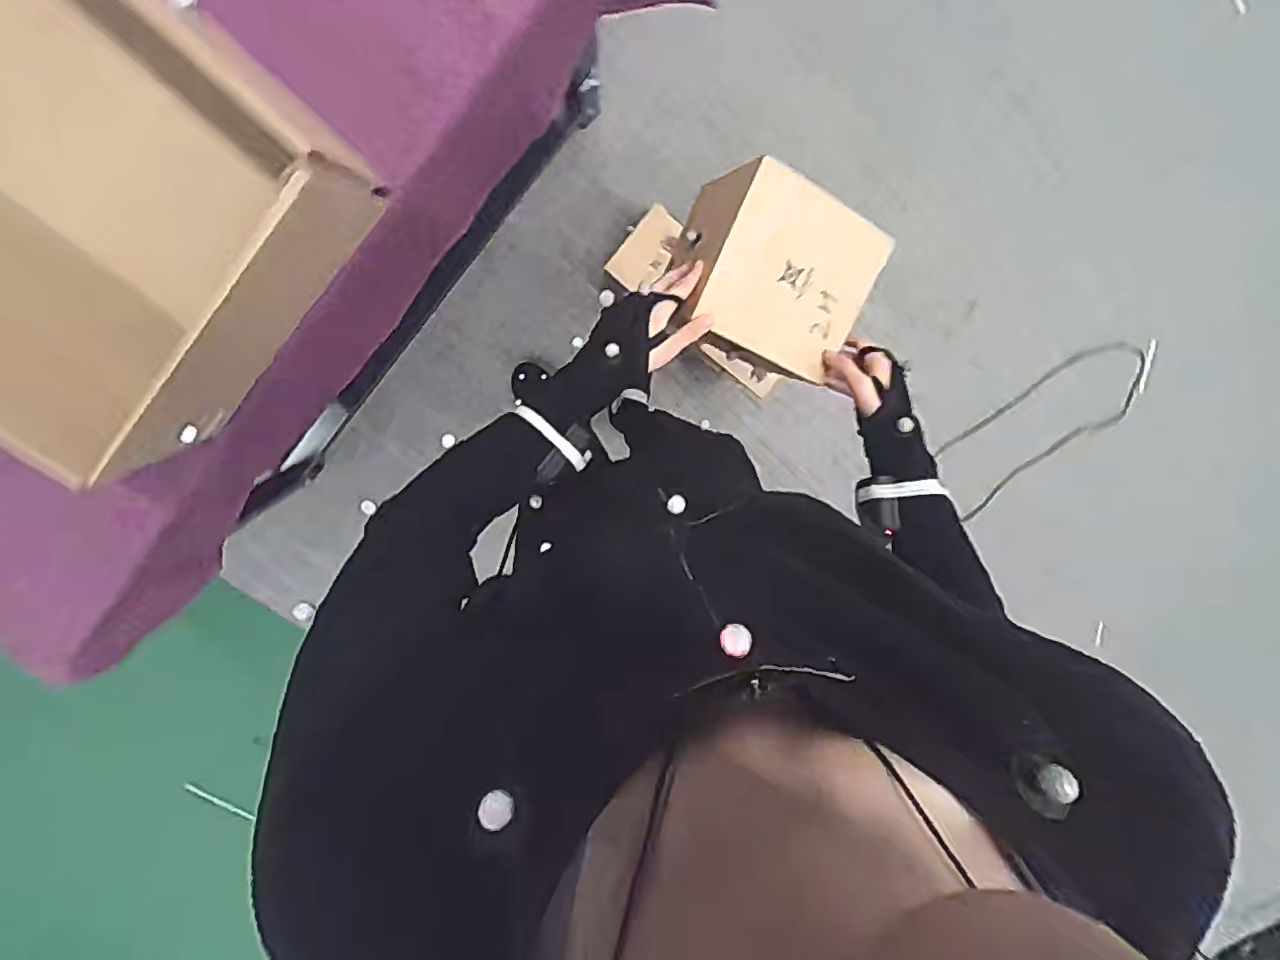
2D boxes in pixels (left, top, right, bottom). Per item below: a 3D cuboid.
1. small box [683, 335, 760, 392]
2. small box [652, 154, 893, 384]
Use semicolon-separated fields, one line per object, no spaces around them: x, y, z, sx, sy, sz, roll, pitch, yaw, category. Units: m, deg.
0.220;-0.342;1.321;0.168;0.176;0.179;36;103;-14;small box
0.134;-0.227;0.615;0.179;0.176;0.168;20;103;-21;small box
